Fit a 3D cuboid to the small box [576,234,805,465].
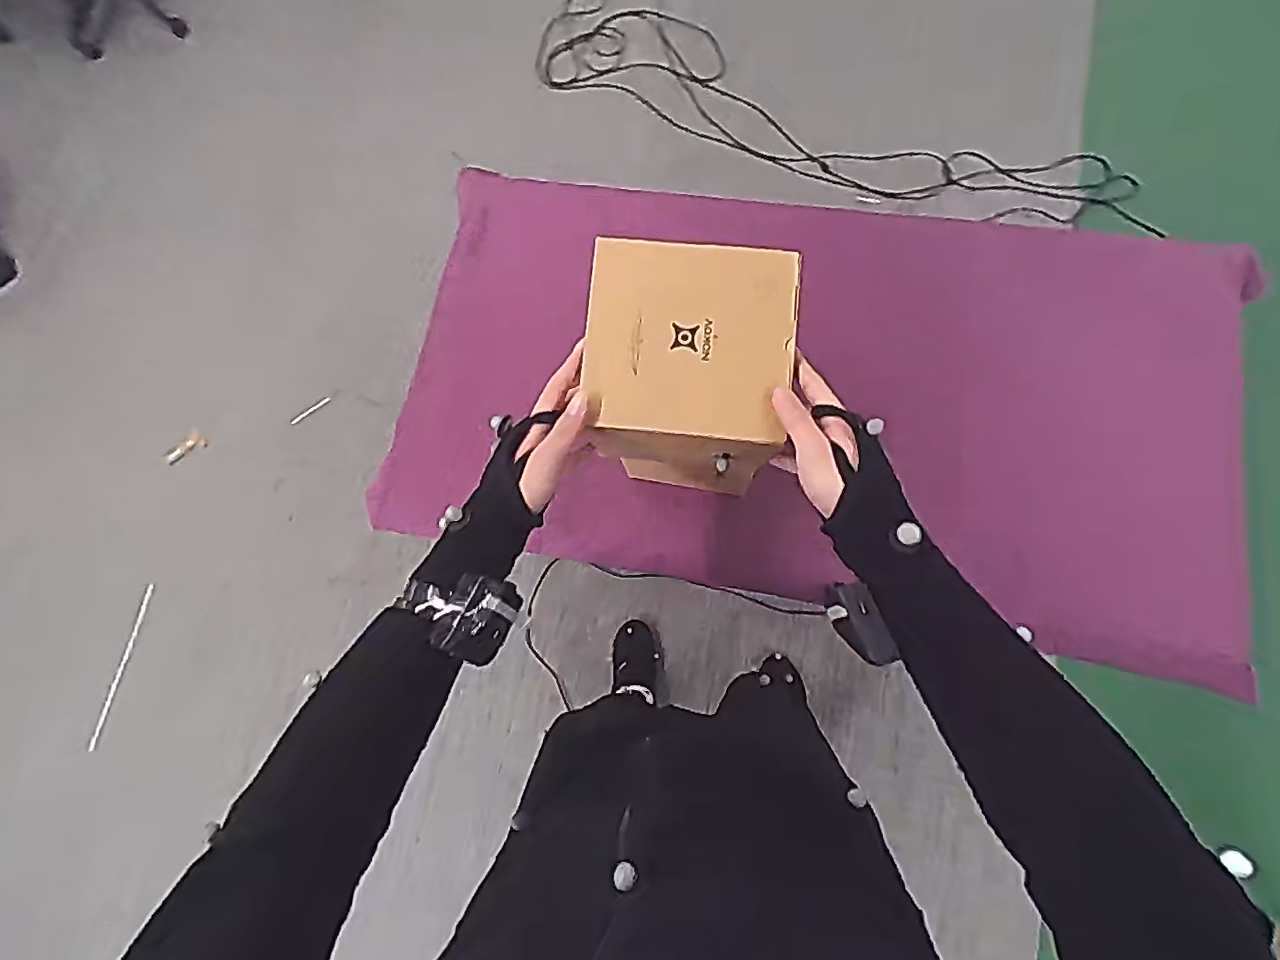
[{"bbox_3d":[0.047,-0.112,0.529,0.179,0.176,0.168,7,83,4],"label":"small box"}]
